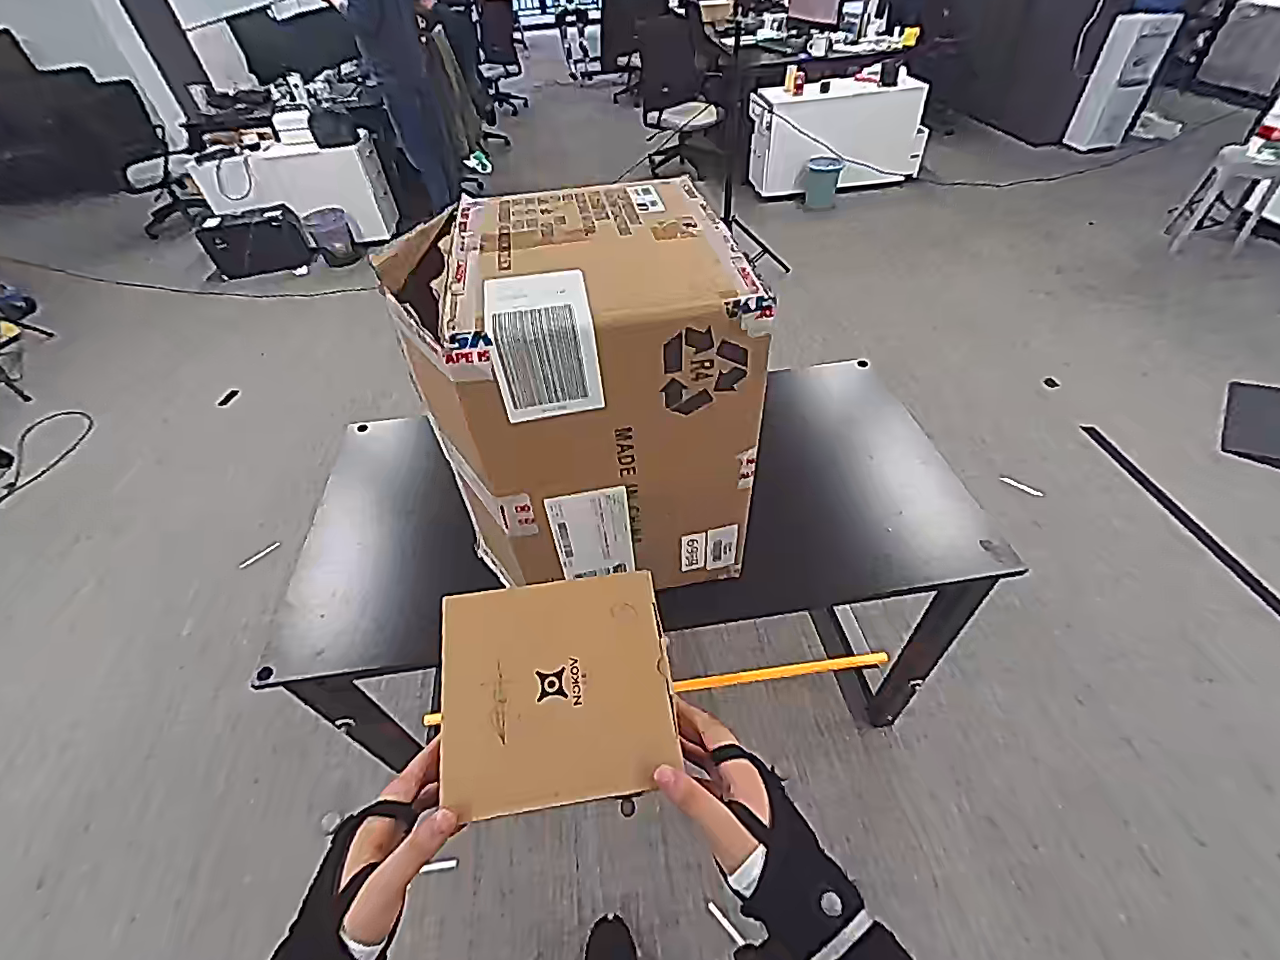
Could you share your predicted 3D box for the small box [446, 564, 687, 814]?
[{"bbox_3d":[-0.066,0.193,0.495,0.179,0.176,0.168,-8,60,-6],"label":"small box"}]
